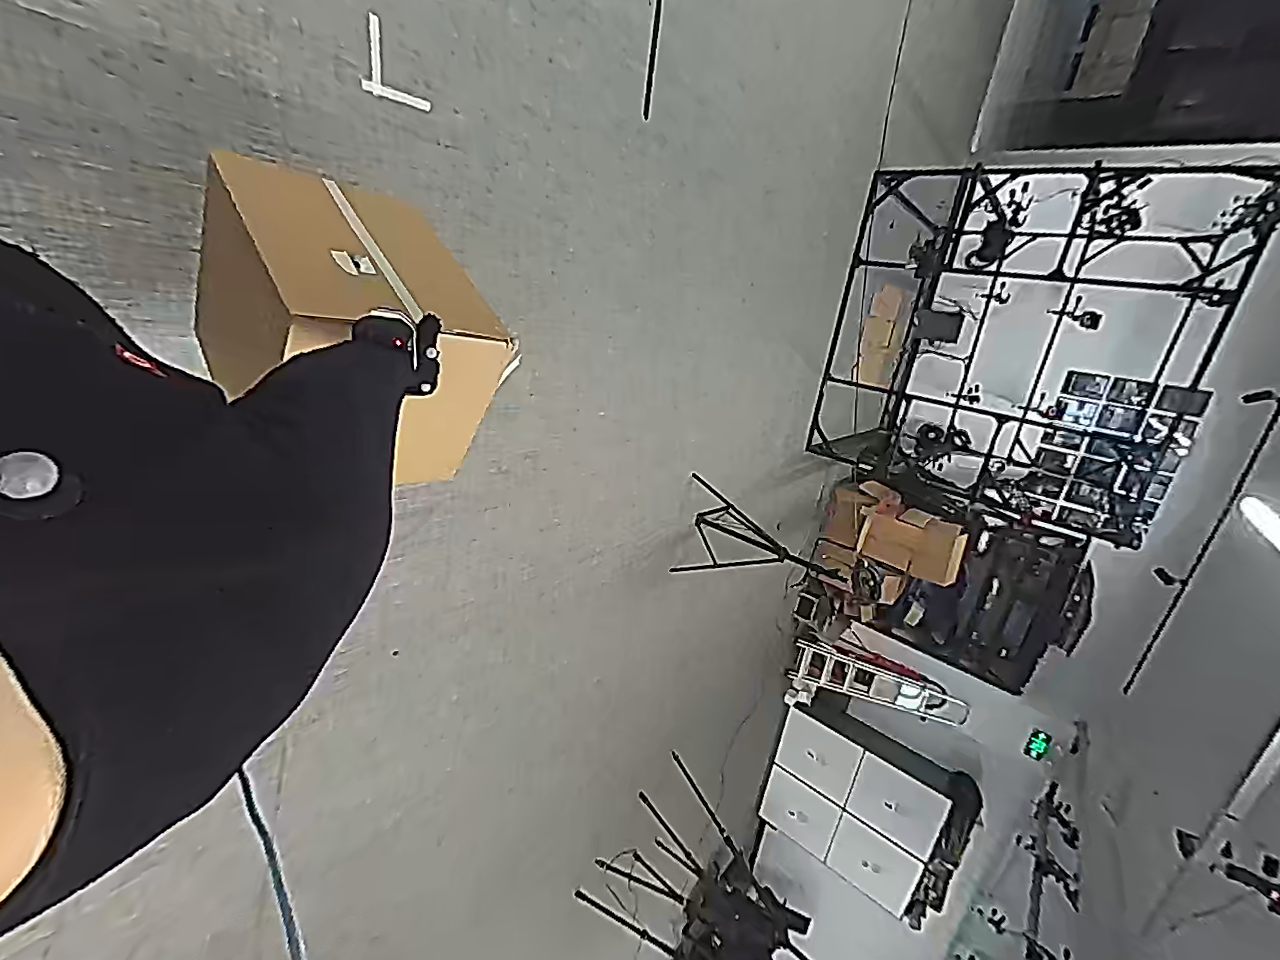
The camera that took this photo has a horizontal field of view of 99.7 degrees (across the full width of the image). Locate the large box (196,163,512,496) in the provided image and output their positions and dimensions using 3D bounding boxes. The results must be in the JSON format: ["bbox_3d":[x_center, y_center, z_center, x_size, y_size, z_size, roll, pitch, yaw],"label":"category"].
[{"bbox_3d":[-0.491,-0.231,0.903,0.320,0.408,0.320,-8,144,-49],"label":"large box"}]
